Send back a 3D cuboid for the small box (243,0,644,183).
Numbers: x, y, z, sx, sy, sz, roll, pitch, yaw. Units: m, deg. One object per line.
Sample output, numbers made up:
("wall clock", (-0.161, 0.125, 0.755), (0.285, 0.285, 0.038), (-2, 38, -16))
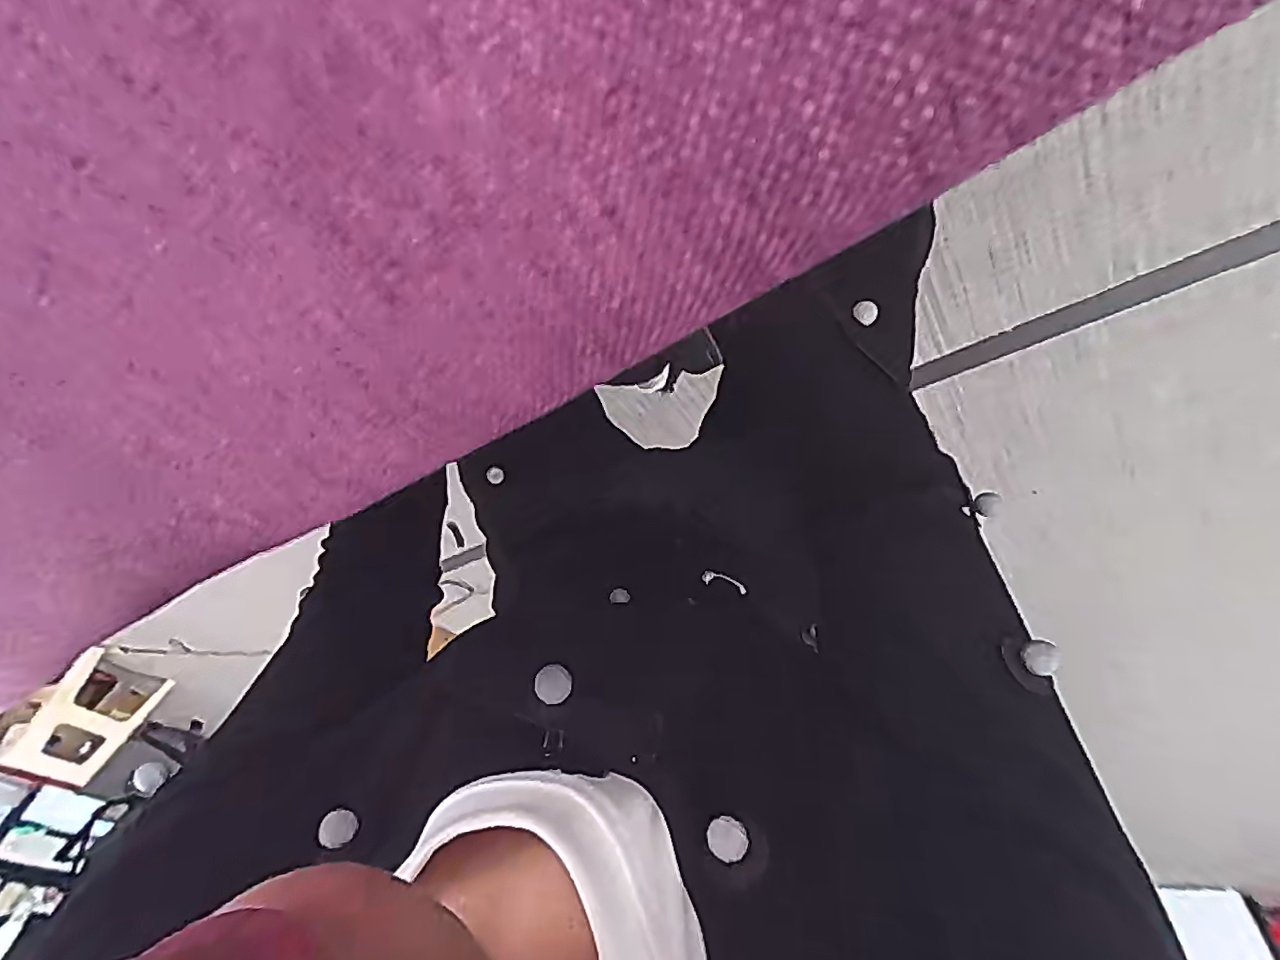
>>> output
("small box", (-0.113, -0.305, 0.314), (0.168, 0.176, 0.179), (-21, 114, 22))
